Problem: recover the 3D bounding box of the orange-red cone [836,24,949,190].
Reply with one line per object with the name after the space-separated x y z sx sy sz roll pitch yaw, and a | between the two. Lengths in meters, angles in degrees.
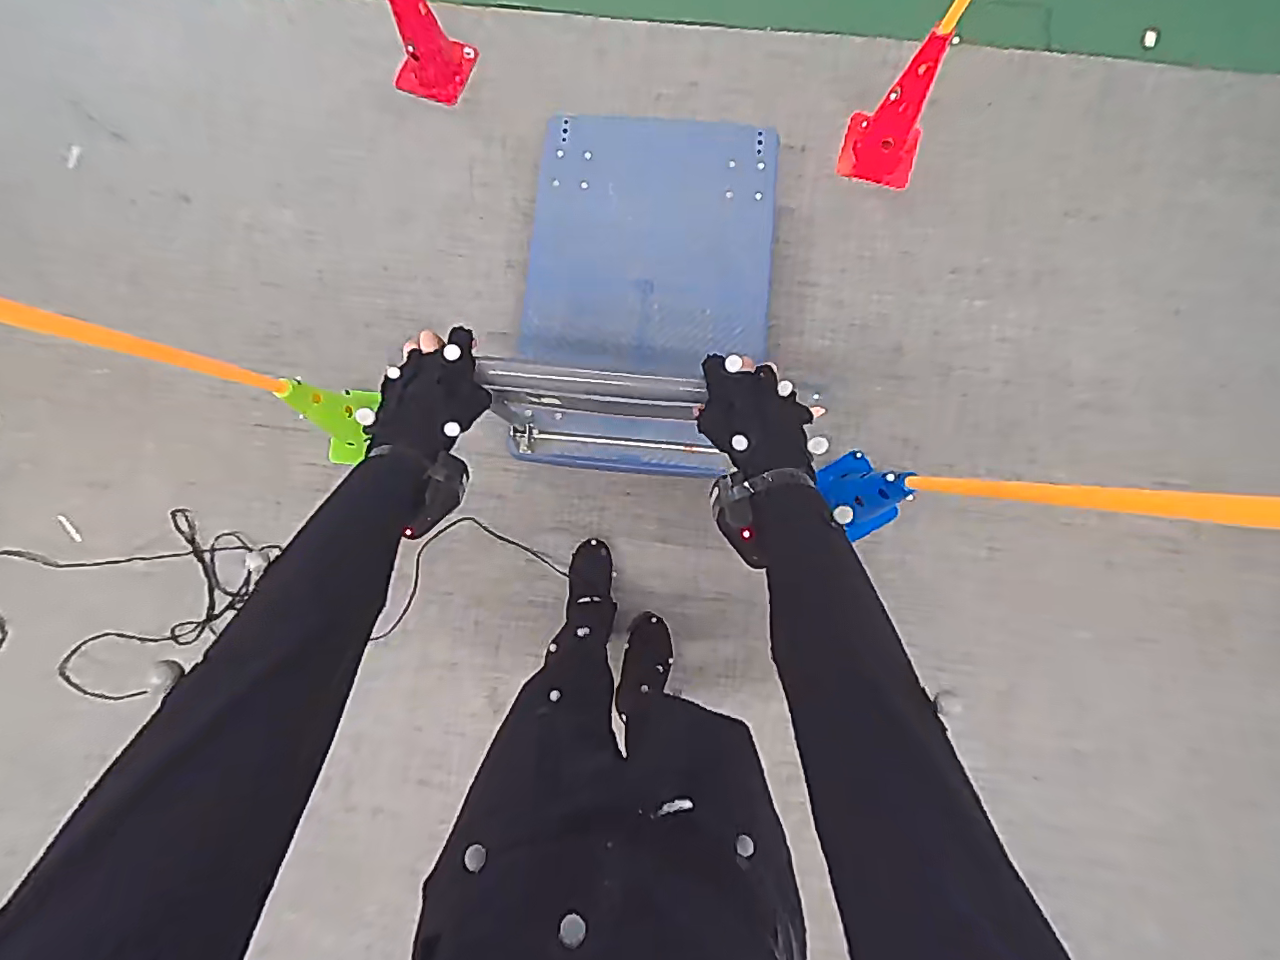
0.653 -0.934 1.332 0.198 0.360 0.199 18 83 5 | orange-red cone
